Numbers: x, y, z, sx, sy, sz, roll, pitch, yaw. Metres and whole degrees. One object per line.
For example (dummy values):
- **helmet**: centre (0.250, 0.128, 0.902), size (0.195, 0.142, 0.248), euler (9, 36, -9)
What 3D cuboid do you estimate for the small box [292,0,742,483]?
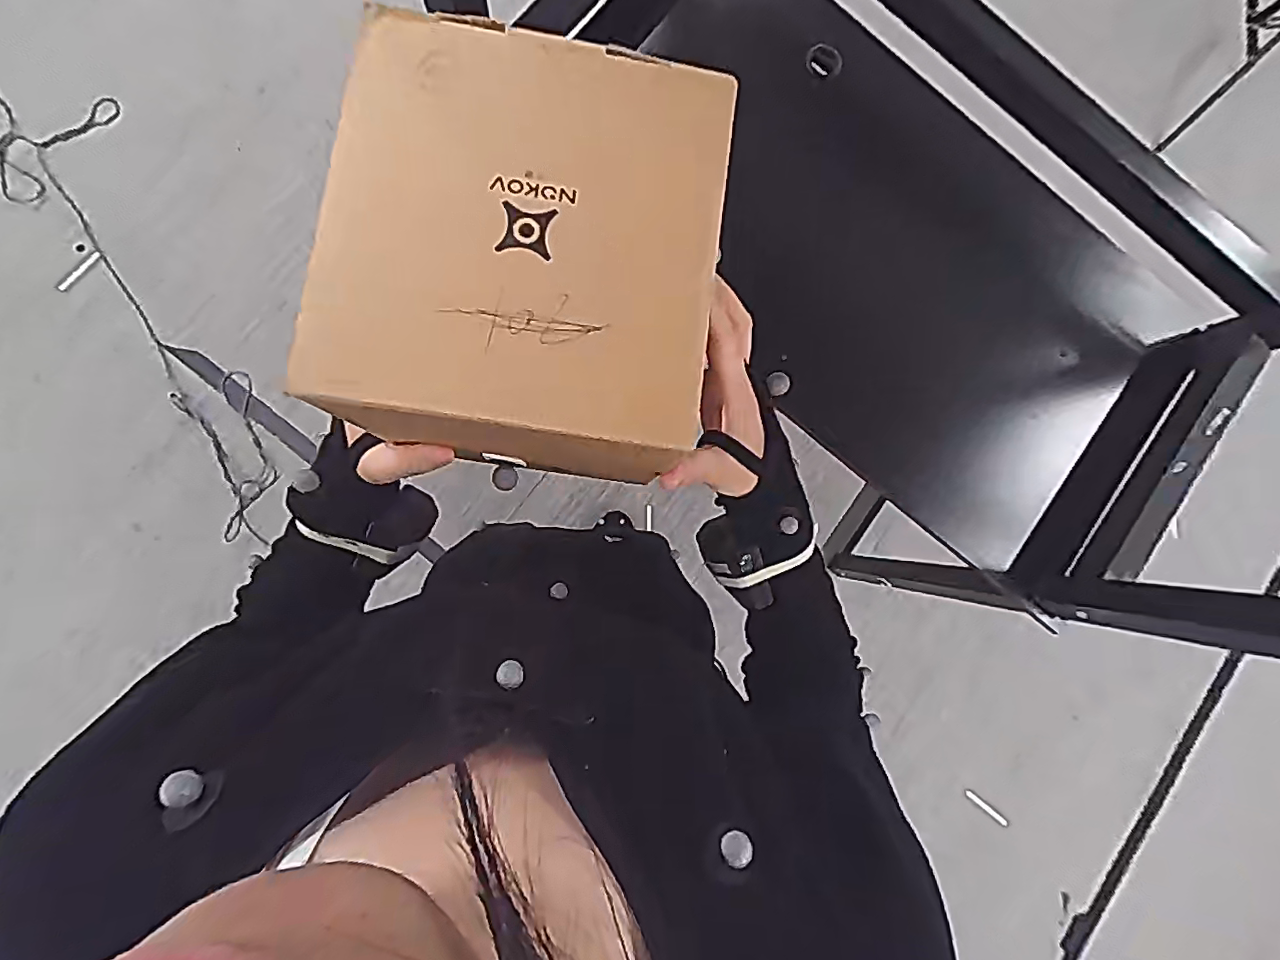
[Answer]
- **small box**: centre (-0.052, -0.100, 0.304), size (0.168, 0.176, 0.179), euler (7, 84, -5)
